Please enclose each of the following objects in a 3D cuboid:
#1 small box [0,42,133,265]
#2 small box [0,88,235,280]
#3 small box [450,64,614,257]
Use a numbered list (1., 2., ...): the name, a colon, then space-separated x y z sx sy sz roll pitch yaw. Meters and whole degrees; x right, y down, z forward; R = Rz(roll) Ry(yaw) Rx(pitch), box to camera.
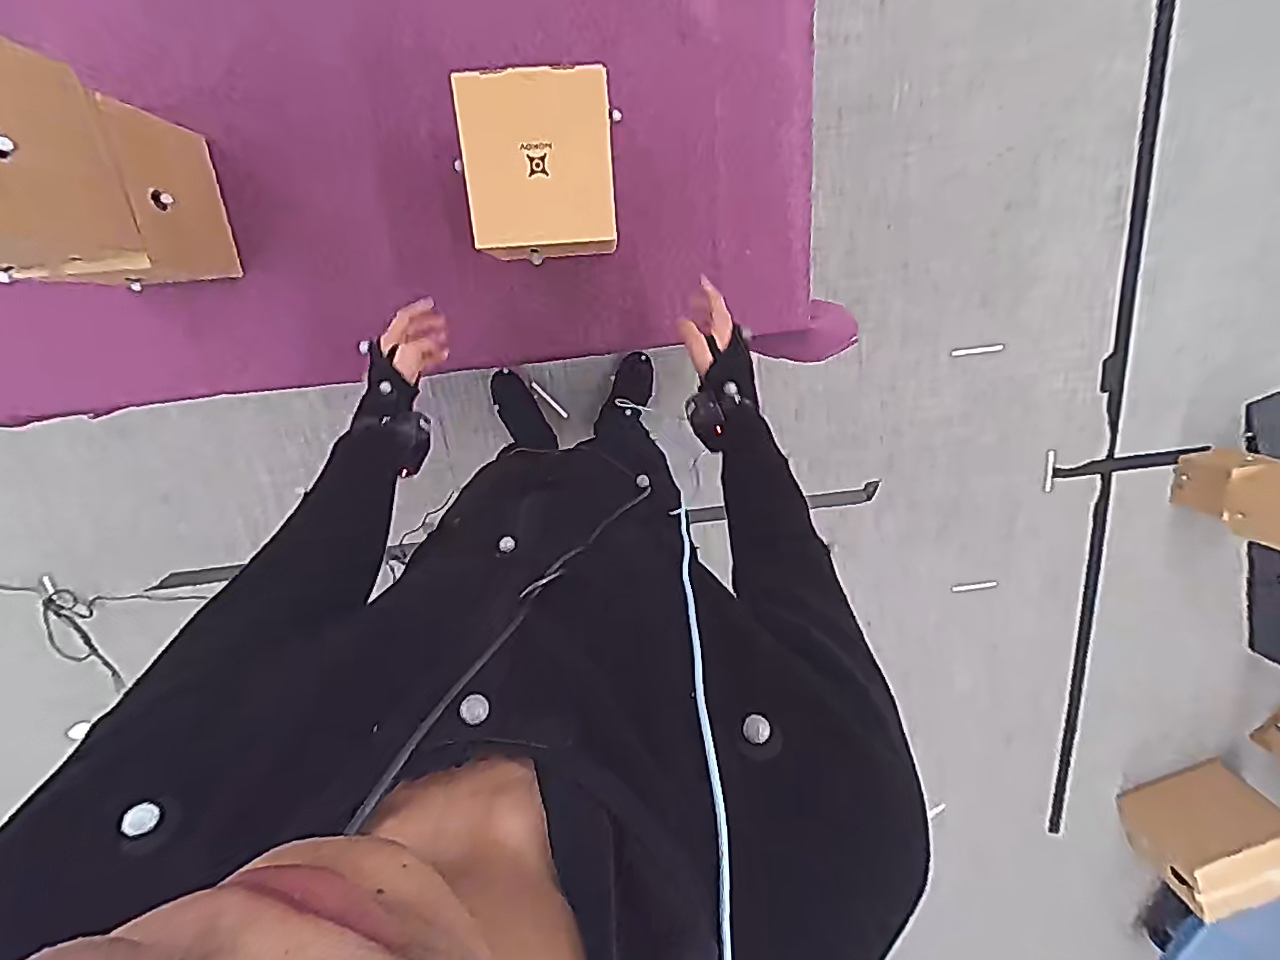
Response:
1. small box: -0.631 -0.298 0.491 0.168 0.176 0.179 -9 107 -2
2. small box: -0.638 -0.337 0.651 0.168 0.176 0.179 -5 108 -3
3. small box: -0.120 -0.380 0.677 0.168 0.176 0.179 -5 107 -2
